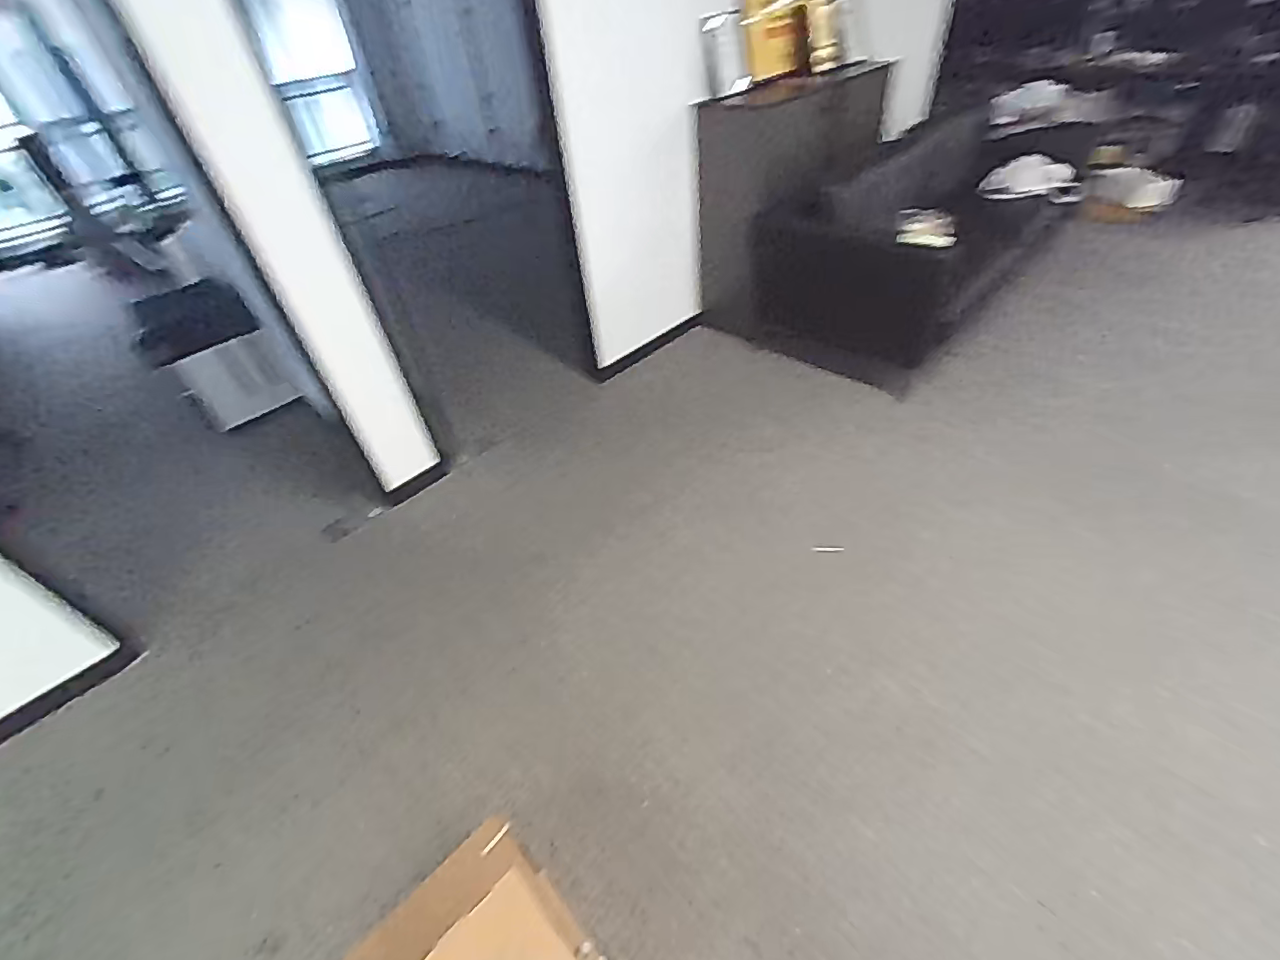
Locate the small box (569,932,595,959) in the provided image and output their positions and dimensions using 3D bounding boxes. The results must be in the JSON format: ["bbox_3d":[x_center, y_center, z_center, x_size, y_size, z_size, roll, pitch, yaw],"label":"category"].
[{"bbox_3d":[-0.102,0.825,0.789,0.179,0.176,0.168,-35,47,-29],"label":"small box"}]

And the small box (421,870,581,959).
[{"bbox_3d":[-0.137,0.578,0.576,0.168,0.176,0.179,-35,48,-29],"label":"small box"}]

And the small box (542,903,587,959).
[{"bbox_3d":[-0.122,0.701,0.684,0.168,0.176,0.179,-35,48,-29],"label":"small box"}]
